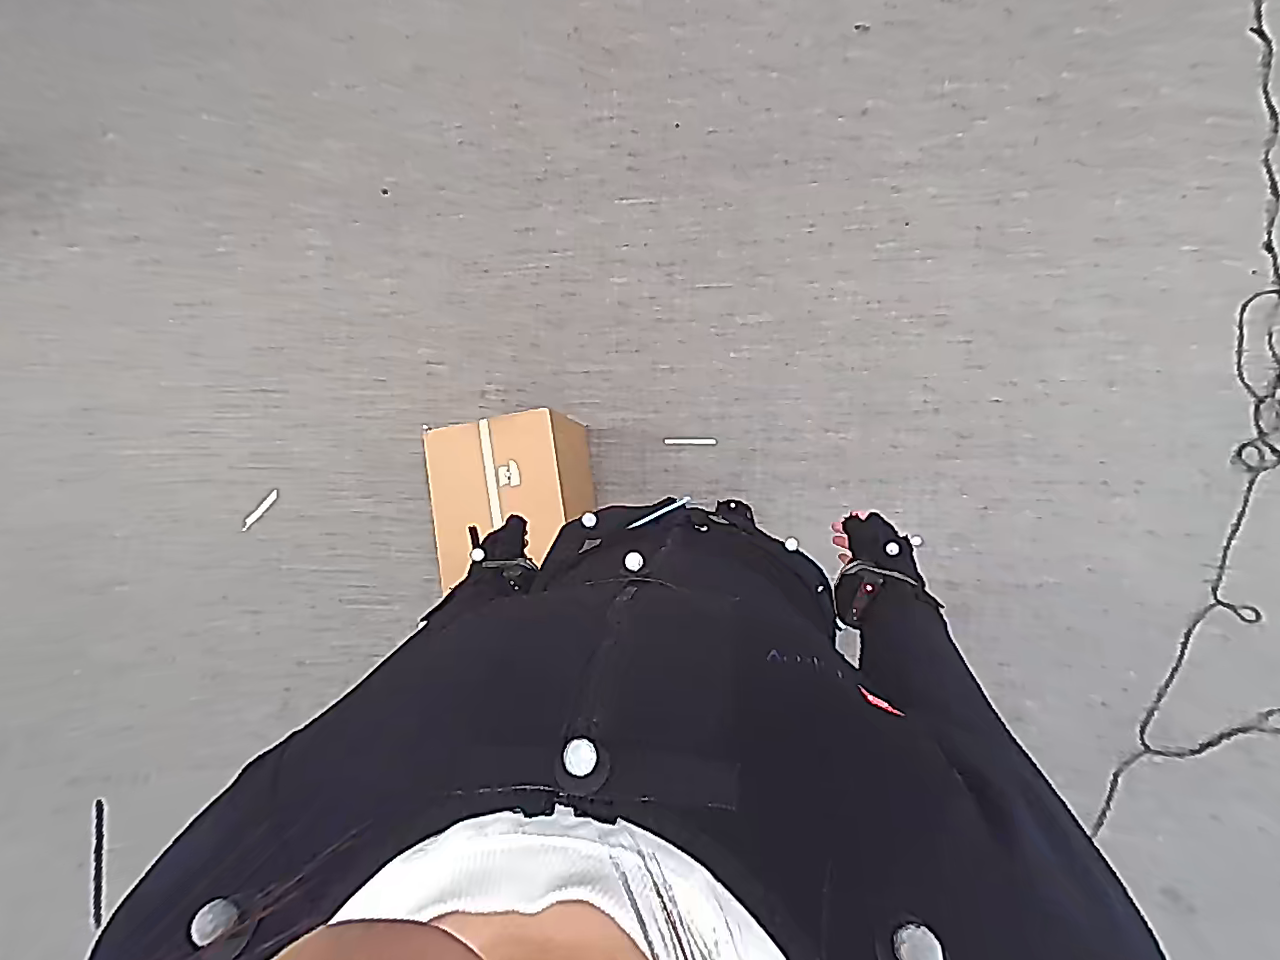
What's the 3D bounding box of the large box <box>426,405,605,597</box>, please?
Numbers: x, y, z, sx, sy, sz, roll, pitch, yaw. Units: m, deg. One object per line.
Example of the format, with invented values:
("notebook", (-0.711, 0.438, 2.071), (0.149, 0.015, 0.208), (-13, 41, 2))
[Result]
("large box", (-0.297, 0.058, 1.376), (0.320, 0.320, 0.408), (-9, 86, 8))
